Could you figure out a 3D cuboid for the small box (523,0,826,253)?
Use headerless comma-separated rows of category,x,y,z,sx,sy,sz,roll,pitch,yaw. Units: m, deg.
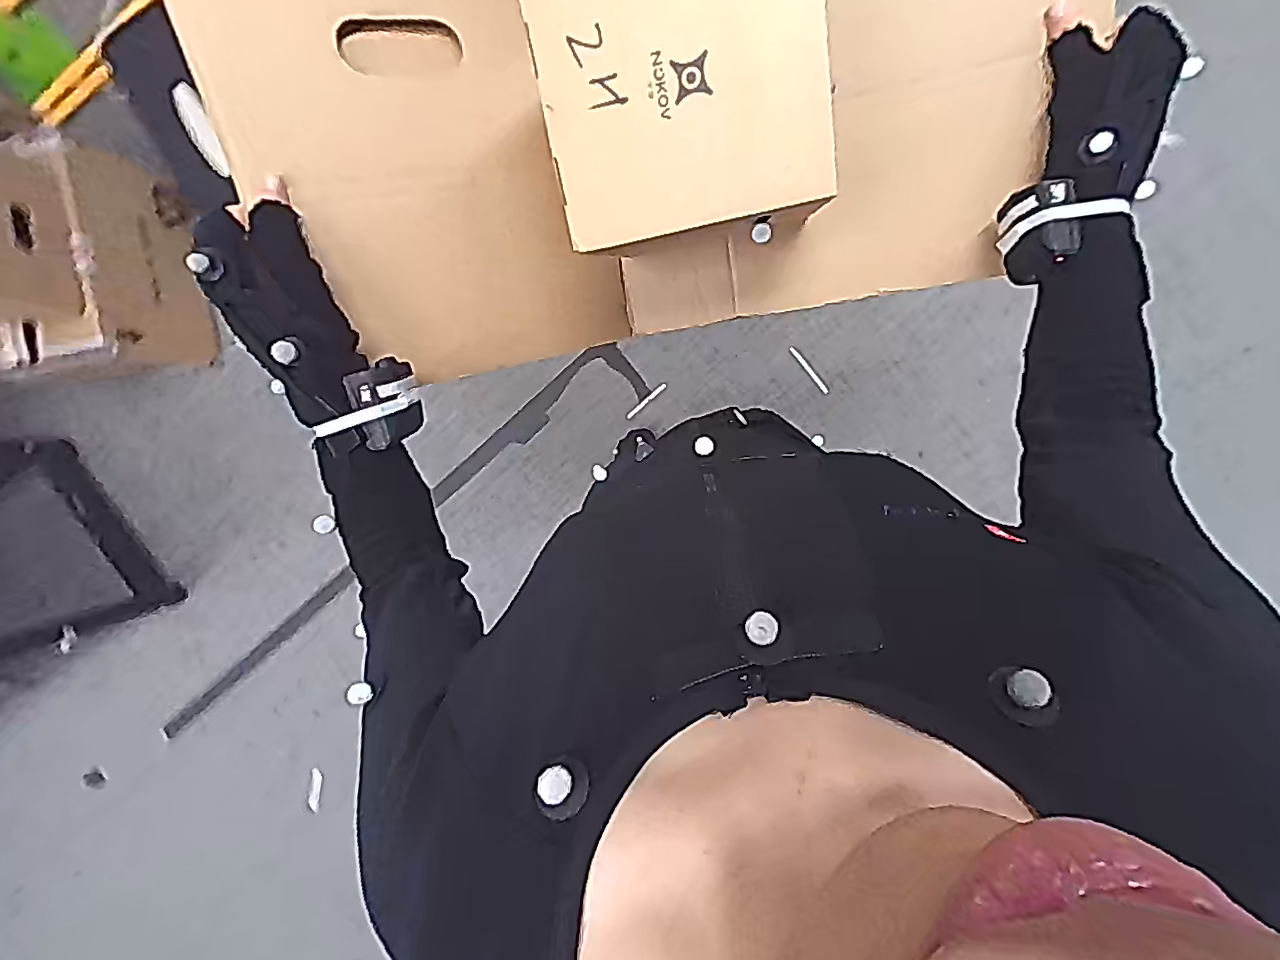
small box,0.036,-0.274,0.409,0.179,0.176,0.168,-5,110,14
